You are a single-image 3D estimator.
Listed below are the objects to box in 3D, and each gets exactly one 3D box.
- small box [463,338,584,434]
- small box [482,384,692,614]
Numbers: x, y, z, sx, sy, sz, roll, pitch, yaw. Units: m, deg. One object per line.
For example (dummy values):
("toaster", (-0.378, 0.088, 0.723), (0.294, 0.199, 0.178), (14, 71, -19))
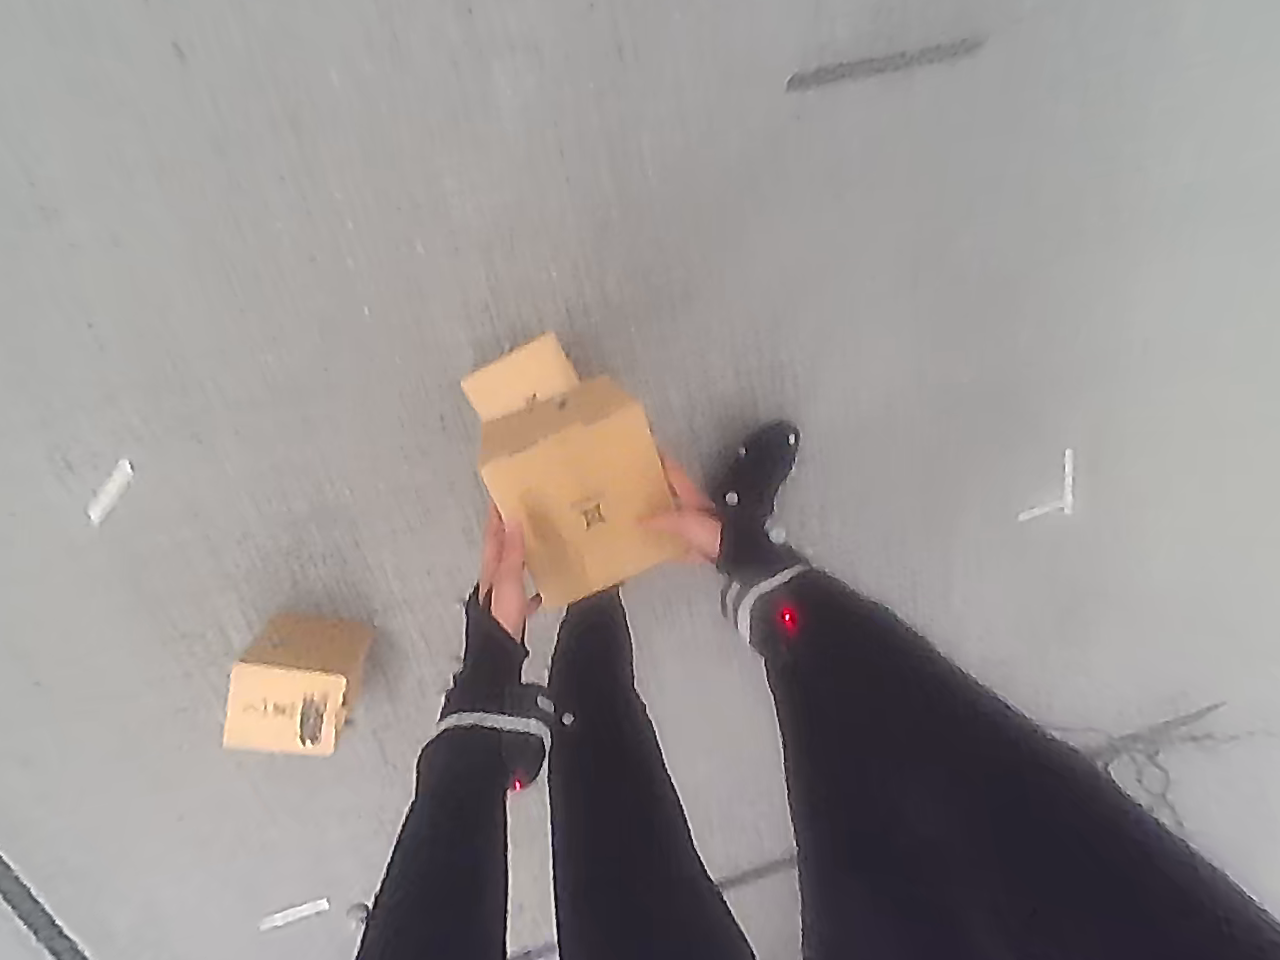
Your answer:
("small box", (-0.182, -0.131, 0.936), (0.168, 0.176, 0.179), (-29, 110, -2))
("small box", (-0.062, 0.010, 0.607), (0.168, 0.176, 0.179), (-22, 112, -6))
